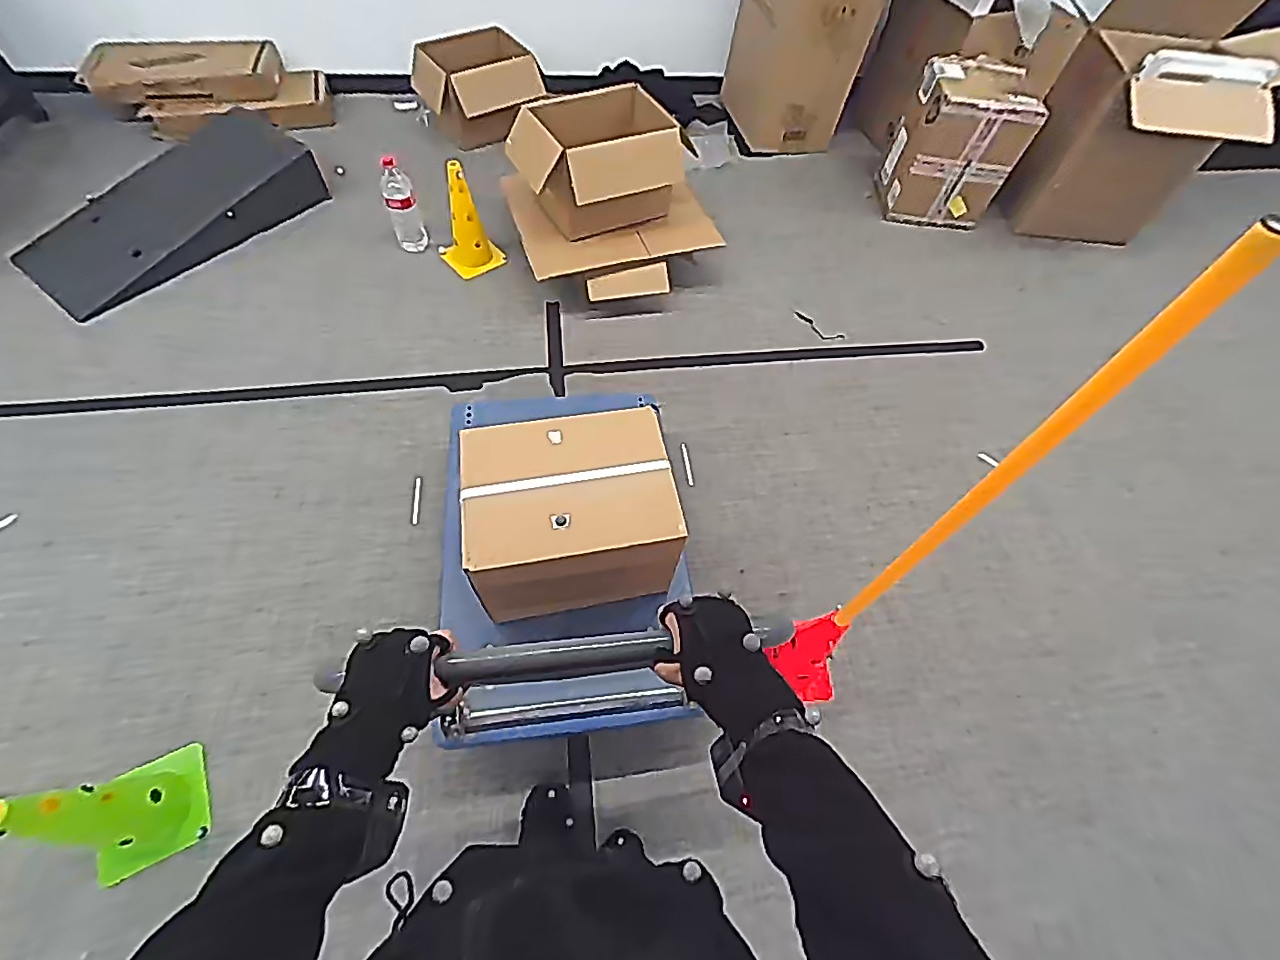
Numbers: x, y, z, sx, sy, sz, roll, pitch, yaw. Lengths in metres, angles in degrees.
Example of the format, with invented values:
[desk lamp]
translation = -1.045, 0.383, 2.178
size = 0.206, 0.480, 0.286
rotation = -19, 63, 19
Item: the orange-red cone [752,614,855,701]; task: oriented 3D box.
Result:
[orange-red cone]
translation = 0.399, 0.370, 1.222
size = 0.199, 0.360, 0.198
rotation = 1, 60, -5
